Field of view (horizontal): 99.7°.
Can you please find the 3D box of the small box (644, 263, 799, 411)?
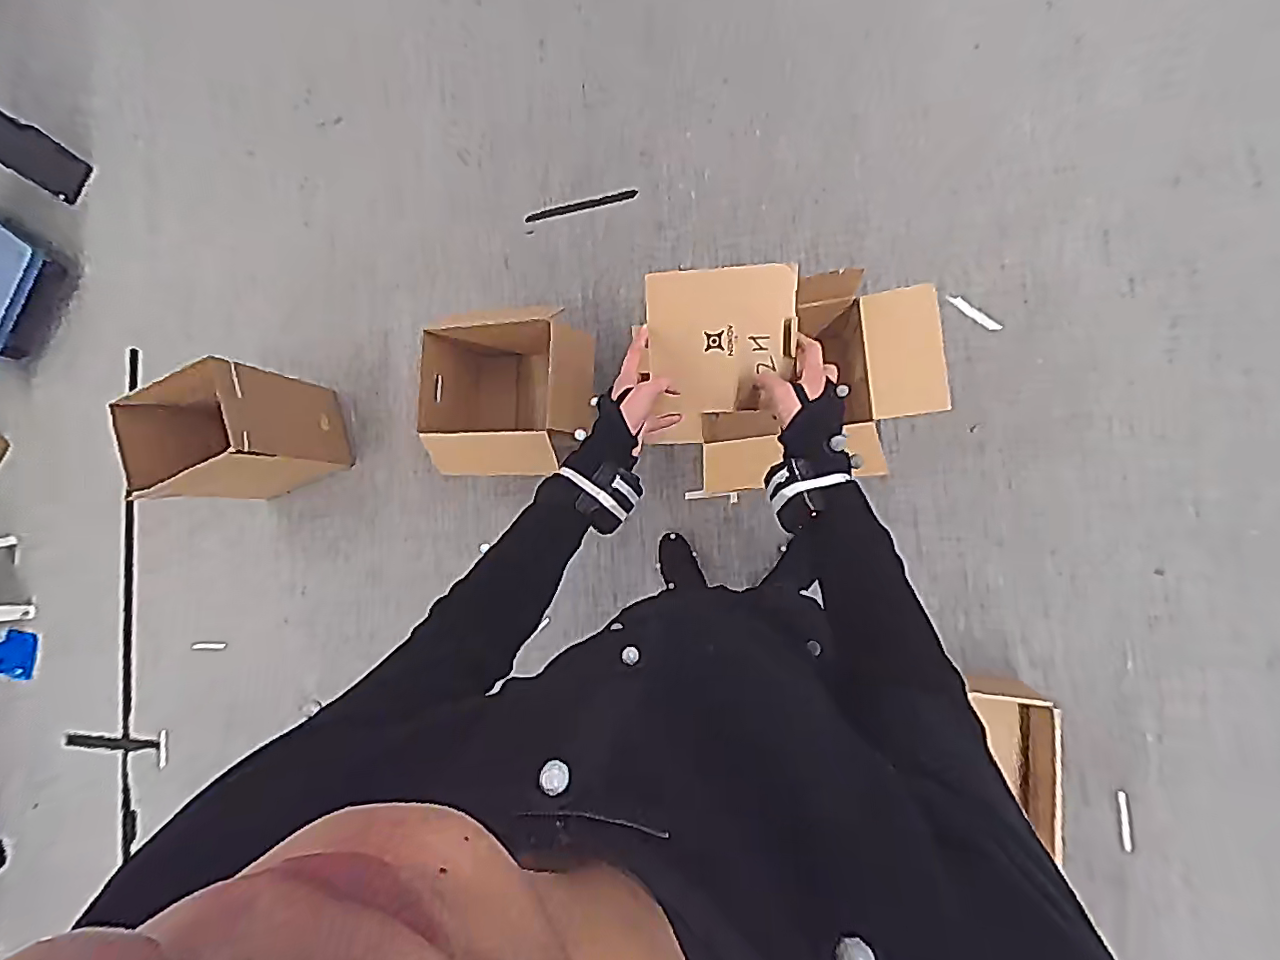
[{"bbox_3d":[0.104,-0.179,0.706,0.179,0.176,0.168,-1,103,7],"label":"small box"}]
